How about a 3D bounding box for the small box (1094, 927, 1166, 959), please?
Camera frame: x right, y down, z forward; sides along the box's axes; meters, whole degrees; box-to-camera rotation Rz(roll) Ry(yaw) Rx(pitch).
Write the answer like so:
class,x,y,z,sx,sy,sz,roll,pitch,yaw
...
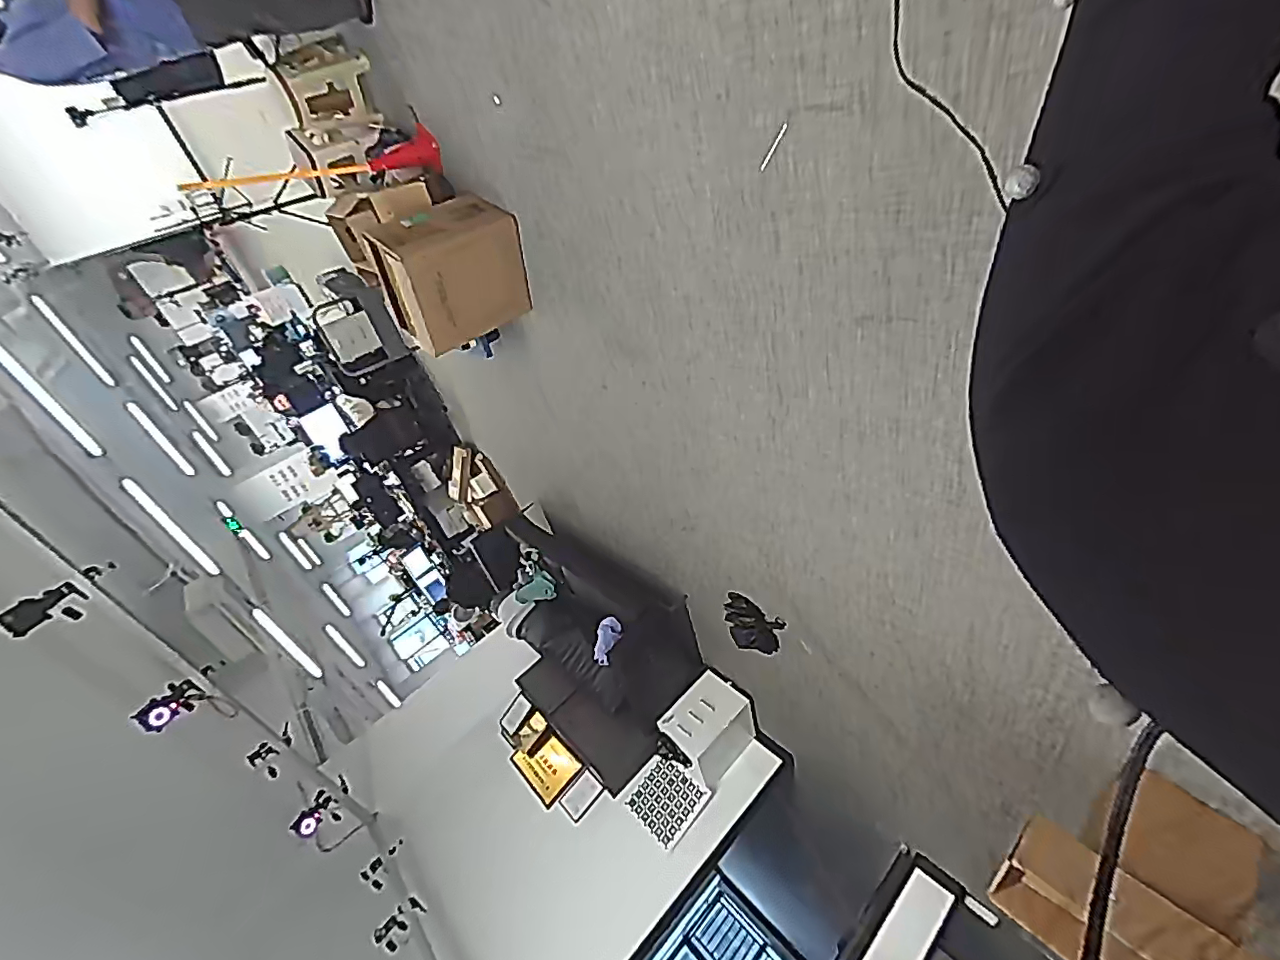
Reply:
class,x,y,z,sx,sy,sz,roll,pitch,yaw
small box,1.425,1.442,1.554,0.168,0.176,0.179,30,147,44
